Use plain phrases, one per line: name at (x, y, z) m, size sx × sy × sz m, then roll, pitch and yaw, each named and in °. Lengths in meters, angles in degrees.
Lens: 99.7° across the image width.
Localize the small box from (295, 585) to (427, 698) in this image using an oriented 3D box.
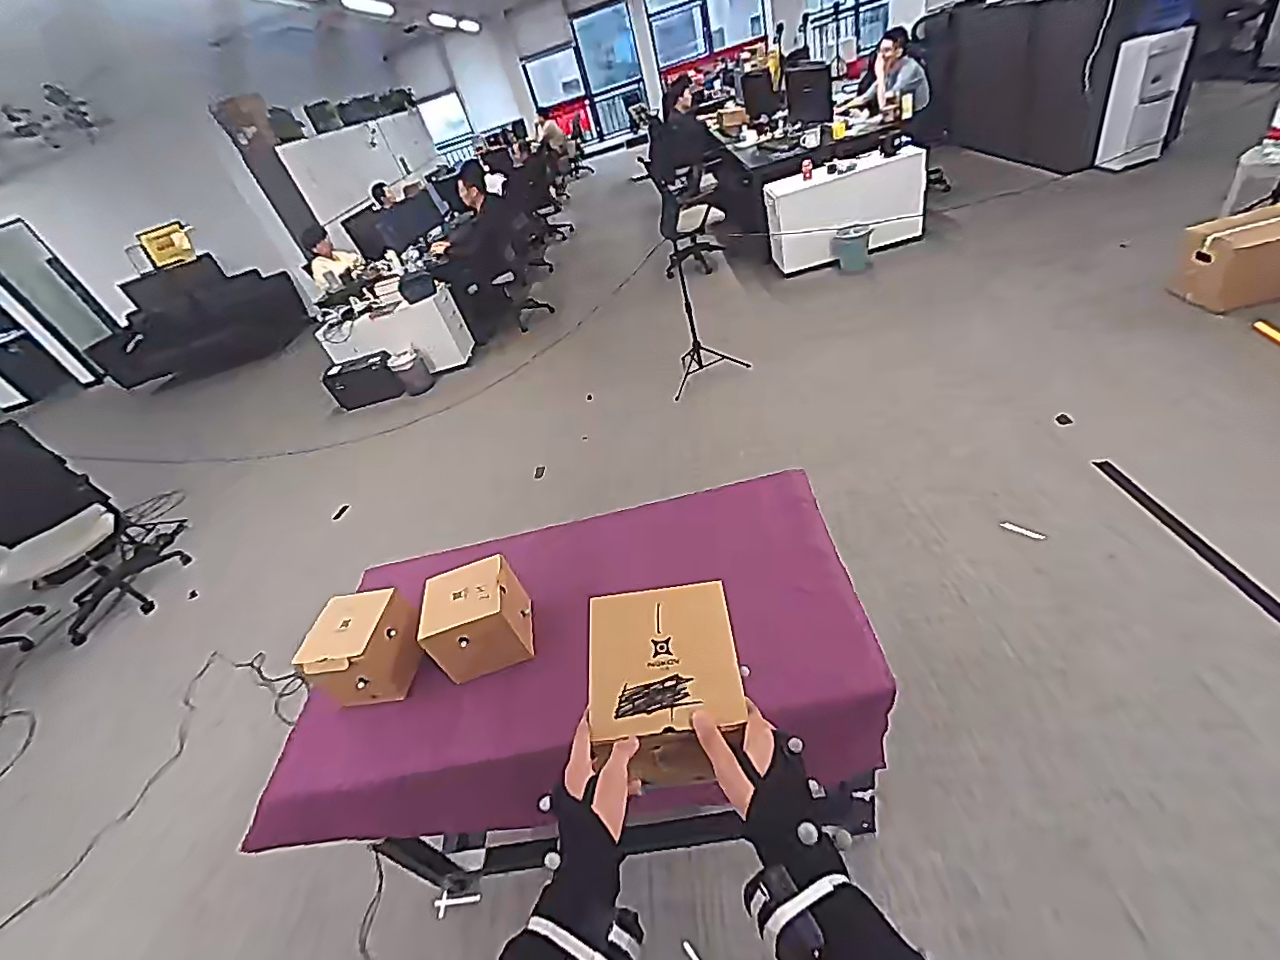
small box at (-0.593, 0.359, 1.182) m, size 0.168 × 0.176 × 0.179 m, roll -9°, pitch 38°, yaw 11°

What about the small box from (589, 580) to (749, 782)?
small box at (0.037, 0.249, 0.657) m, size 0.168 × 0.176 × 0.179 m, roll -8°, pitch 43°, yaw 4°

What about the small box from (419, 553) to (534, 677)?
small box at (-0.342, 0.292, 1.157) m, size 0.179 × 0.176 × 0.168 m, roll -18°, pitch 38°, yaw 0°
